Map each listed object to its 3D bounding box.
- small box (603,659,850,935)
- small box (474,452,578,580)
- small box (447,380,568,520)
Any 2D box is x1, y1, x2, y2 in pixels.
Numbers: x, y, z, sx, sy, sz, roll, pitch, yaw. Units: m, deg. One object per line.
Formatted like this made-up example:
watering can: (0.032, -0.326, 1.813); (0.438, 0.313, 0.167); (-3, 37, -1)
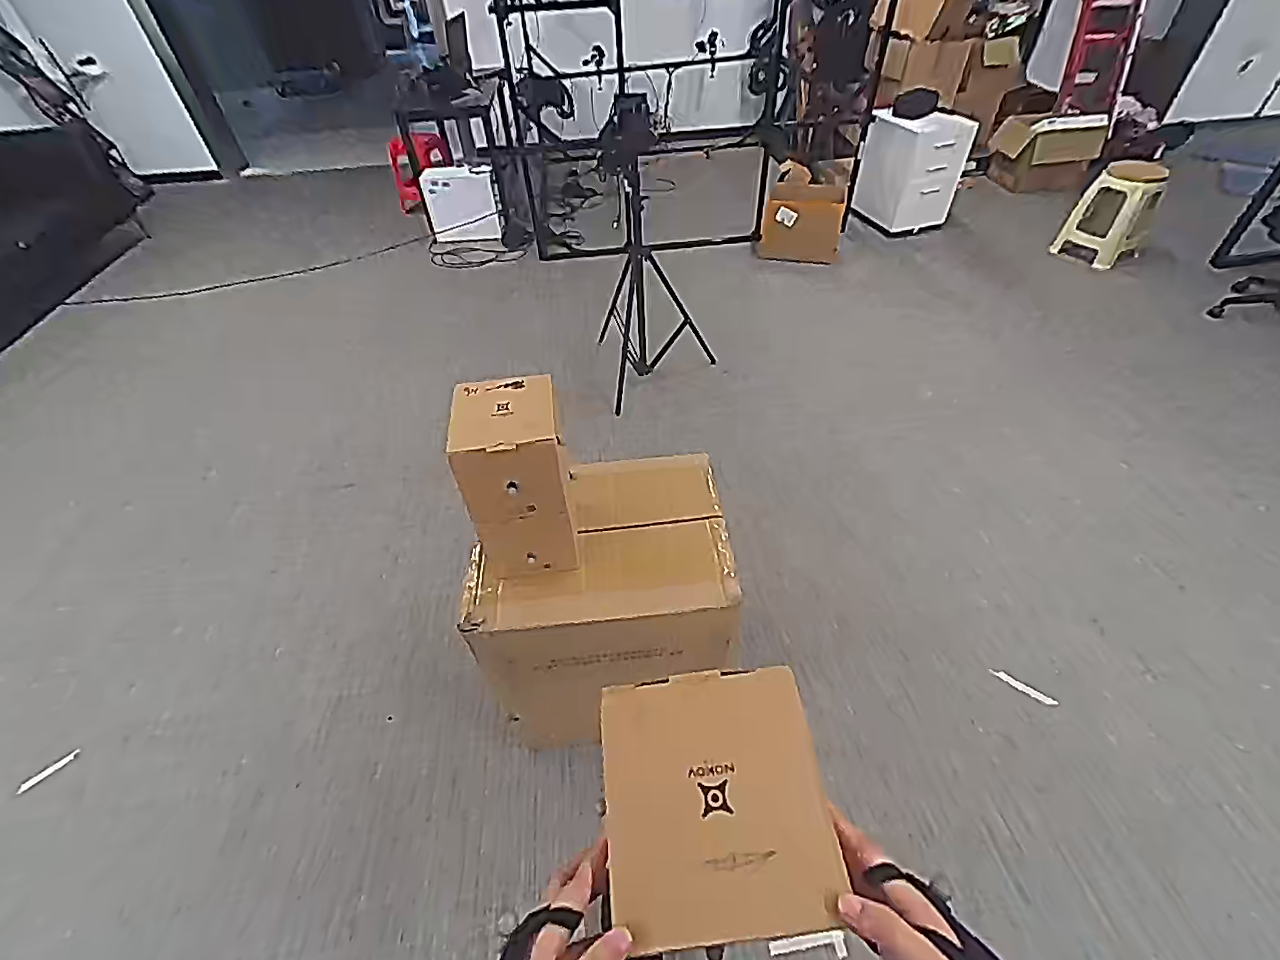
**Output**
small box: (0.059, 0.281, 0.479); (0.168, 0.176, 0.179); (-7, 52, 0)
small box: (-0.212, 0.070, 1.046); (0.168, 0.176, 0.179); (-7, 46, -4)
small box: (-0.220, -0.046, 0.930); (0.168, 0.176, 0.179); (-8, 47, -5)
